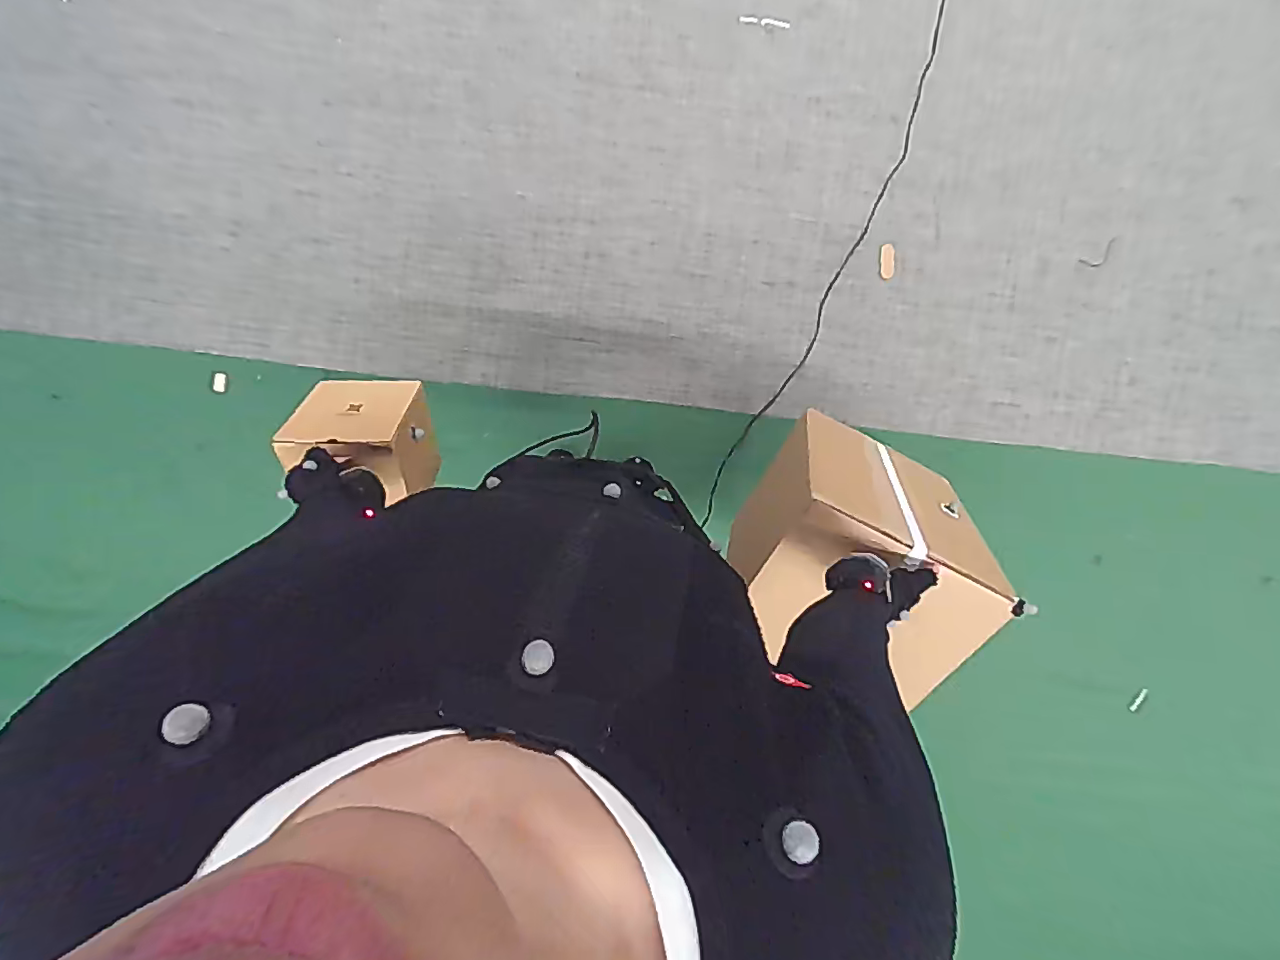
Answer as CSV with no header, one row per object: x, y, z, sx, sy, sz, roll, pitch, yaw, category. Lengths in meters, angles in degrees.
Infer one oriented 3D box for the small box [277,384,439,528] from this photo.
-0.441,-0.040,0.882,0.168,0.179,0.176,-1,130,-3,small box
